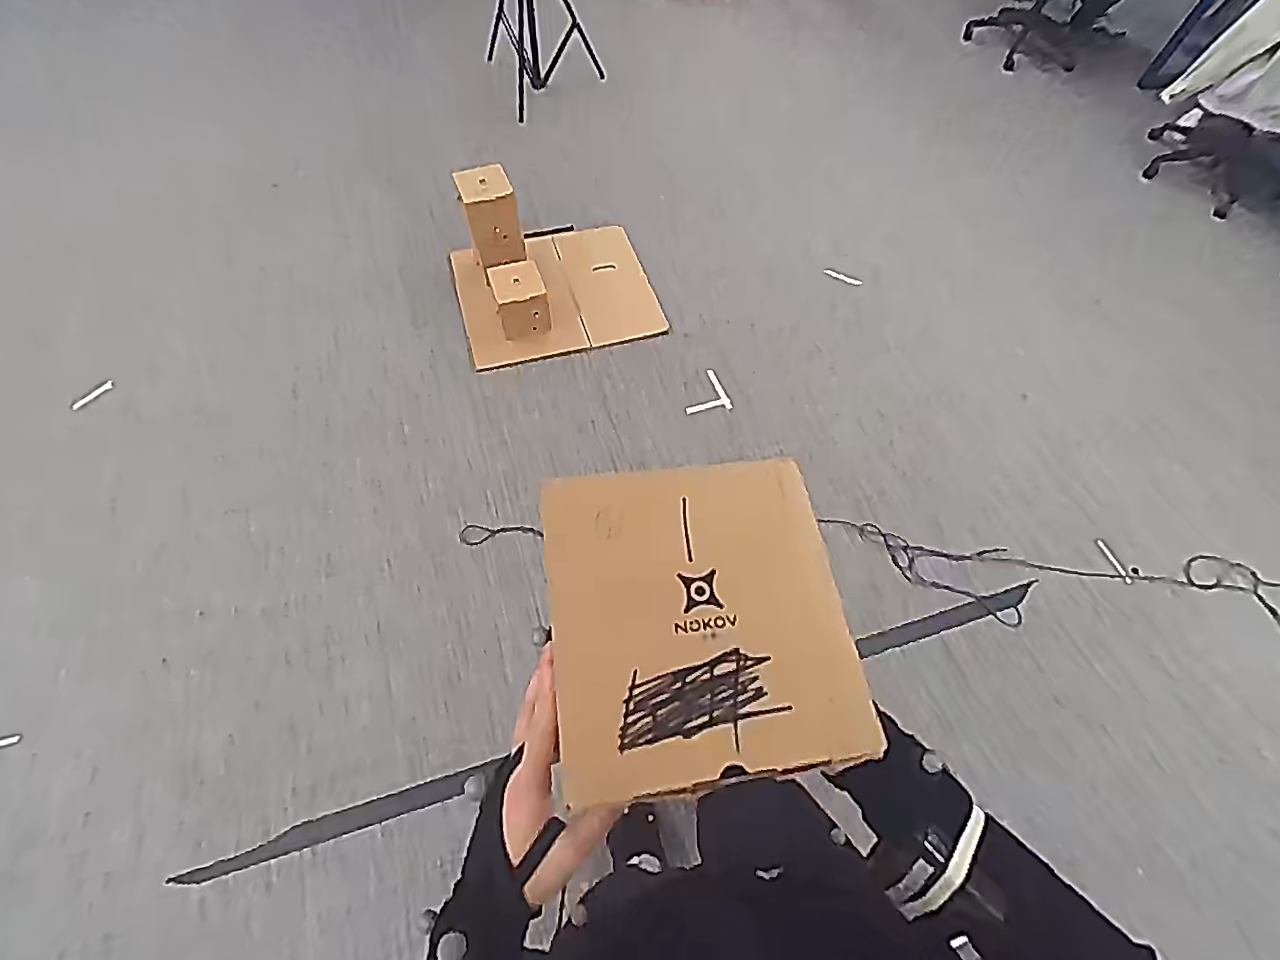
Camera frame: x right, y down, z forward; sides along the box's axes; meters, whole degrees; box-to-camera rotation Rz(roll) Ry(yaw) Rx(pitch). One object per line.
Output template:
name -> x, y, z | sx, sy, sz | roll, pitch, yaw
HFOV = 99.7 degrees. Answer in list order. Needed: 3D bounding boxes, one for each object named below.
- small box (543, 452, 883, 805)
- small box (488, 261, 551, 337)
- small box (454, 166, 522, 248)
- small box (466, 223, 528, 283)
small box -> 0.026, 0.101, 0.371 | 0.168, 0.176, 0.179 | -5, 65, -9
small box -> -0.410, -0.614, 1.856 | 0.168, 0.176, 0.179 | -17, 62, -13
small box -> -0.513, -0.926, 1.835 | 0.168, 0.176, 0.179 | -20, 64, -13
small box -> -0.516, -0.845, 1.978 | 0.168, 0.176, 0.179 | -21, 65, -14
